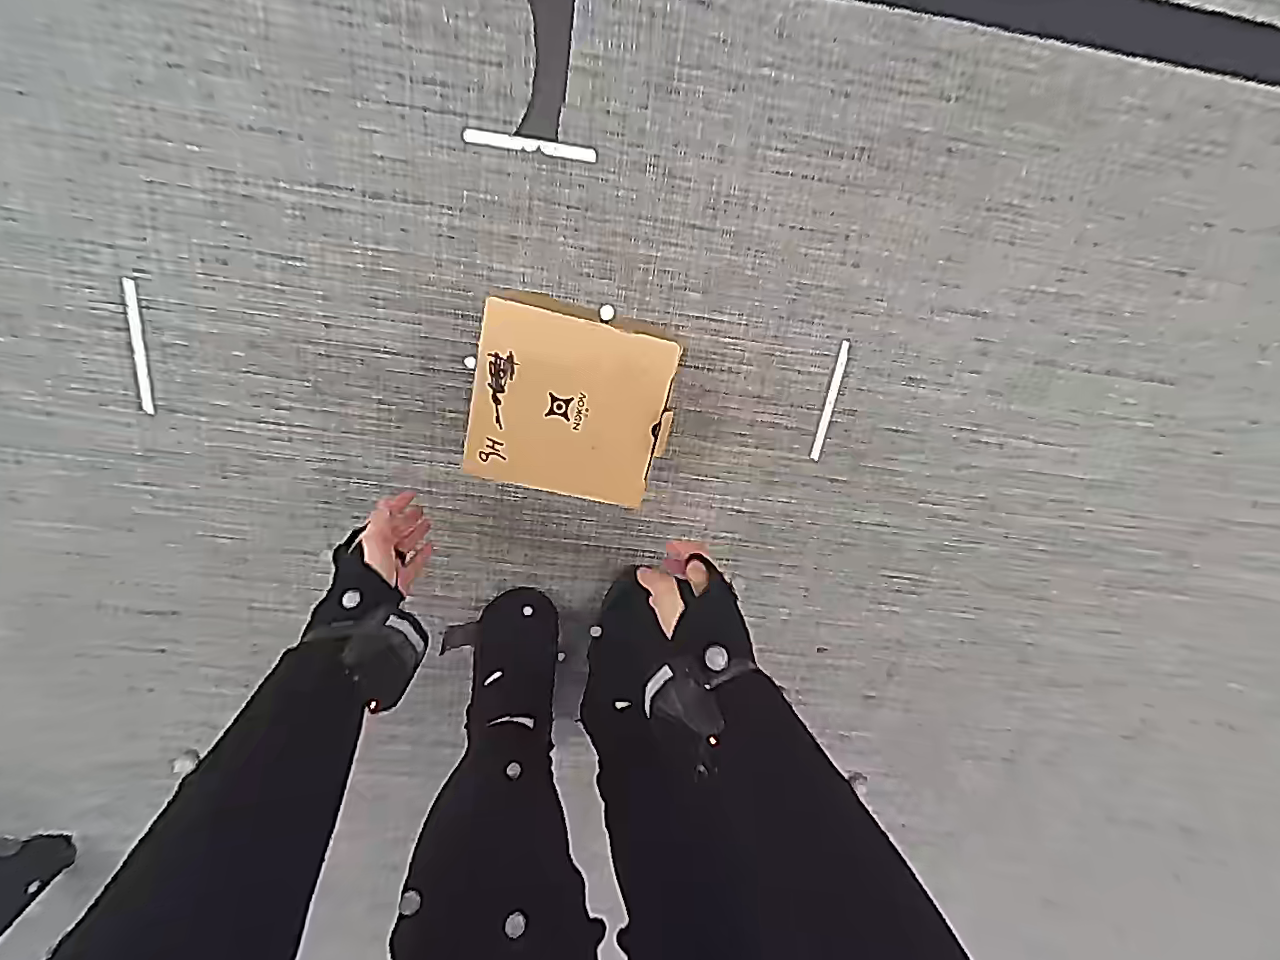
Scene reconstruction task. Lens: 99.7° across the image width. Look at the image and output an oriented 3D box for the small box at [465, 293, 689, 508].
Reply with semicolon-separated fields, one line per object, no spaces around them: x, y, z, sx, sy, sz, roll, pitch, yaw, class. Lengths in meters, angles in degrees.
-0.065;-0.092;0.564;0.179;0.176;0.168;13;109;-8;small box
